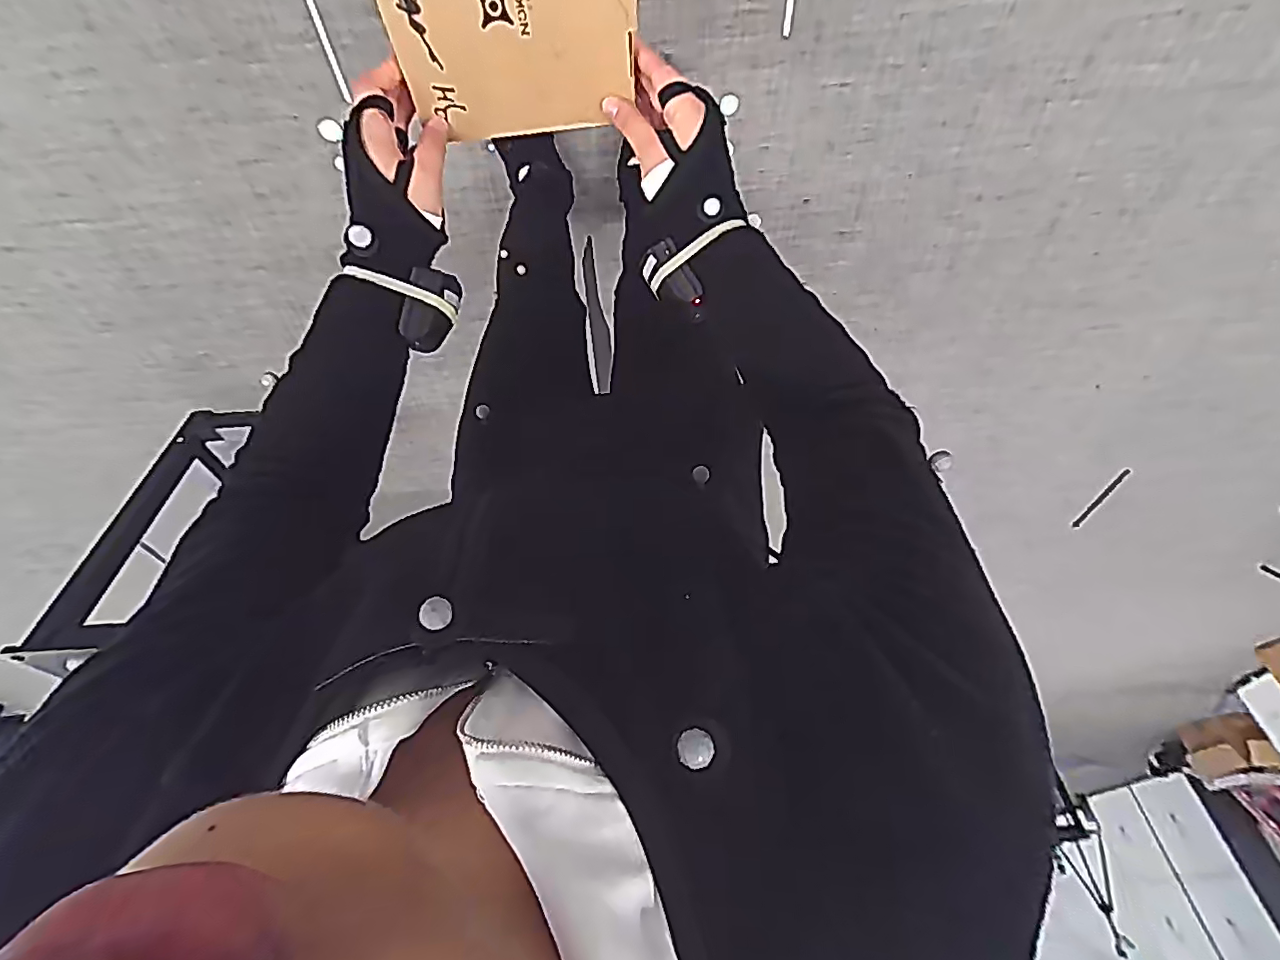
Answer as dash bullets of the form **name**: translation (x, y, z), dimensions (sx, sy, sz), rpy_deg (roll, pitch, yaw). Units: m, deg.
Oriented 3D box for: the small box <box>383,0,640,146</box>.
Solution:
- **small box**: translation (-0.099, -0.397, 0.425), dimensions (0.179, 0.176, 0.168), rpy_deg (-7, 146, -2)
